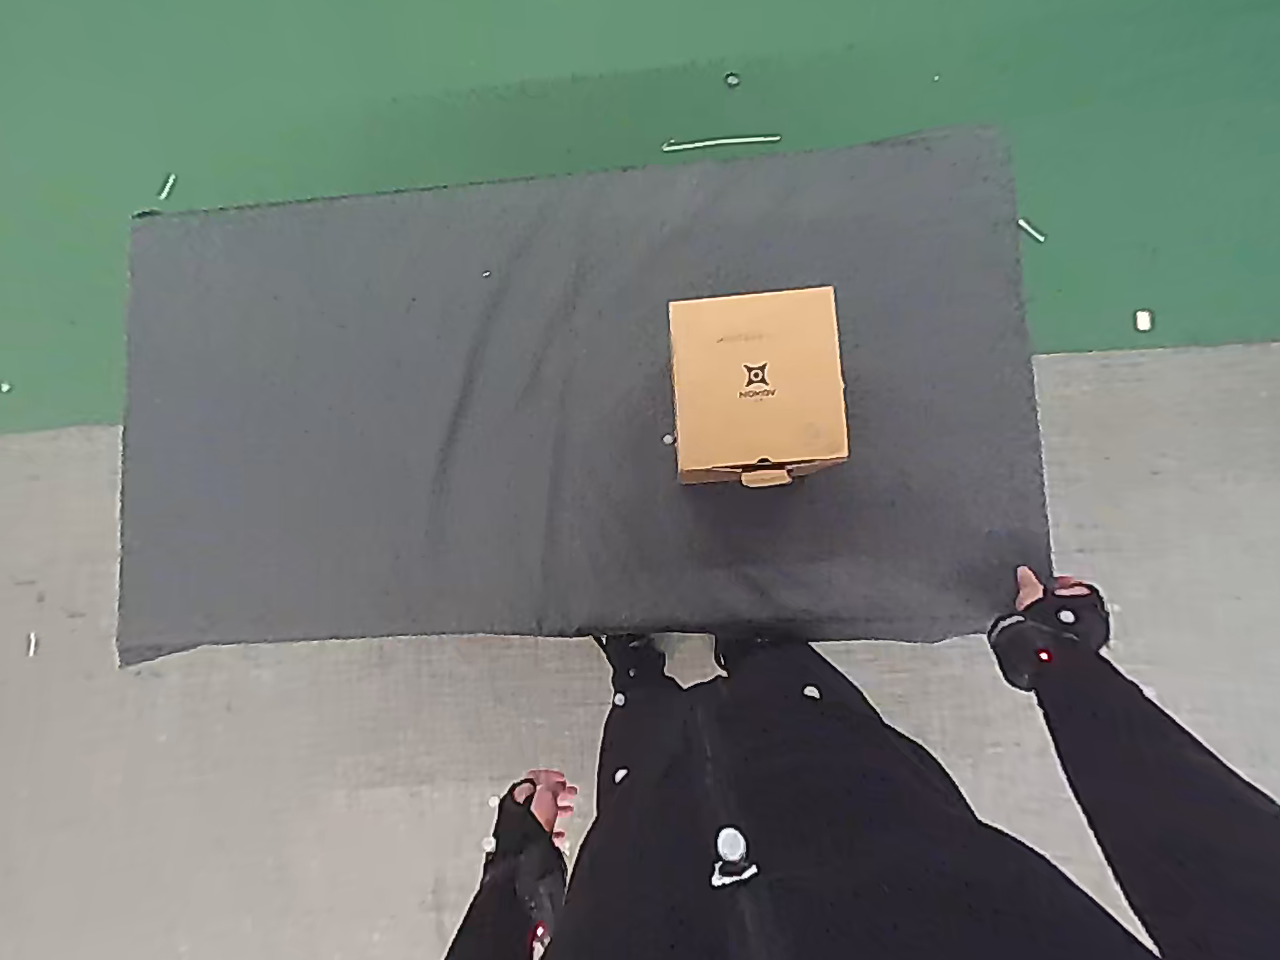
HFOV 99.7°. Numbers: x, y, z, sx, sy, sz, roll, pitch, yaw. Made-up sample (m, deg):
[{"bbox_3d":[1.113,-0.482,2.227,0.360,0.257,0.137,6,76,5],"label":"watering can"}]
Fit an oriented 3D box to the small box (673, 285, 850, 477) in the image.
[{"bbox_3d":[0.125,-0.097,0.616,0.168,0.176,0.179,-4,84,3],"label":"small box"}]
